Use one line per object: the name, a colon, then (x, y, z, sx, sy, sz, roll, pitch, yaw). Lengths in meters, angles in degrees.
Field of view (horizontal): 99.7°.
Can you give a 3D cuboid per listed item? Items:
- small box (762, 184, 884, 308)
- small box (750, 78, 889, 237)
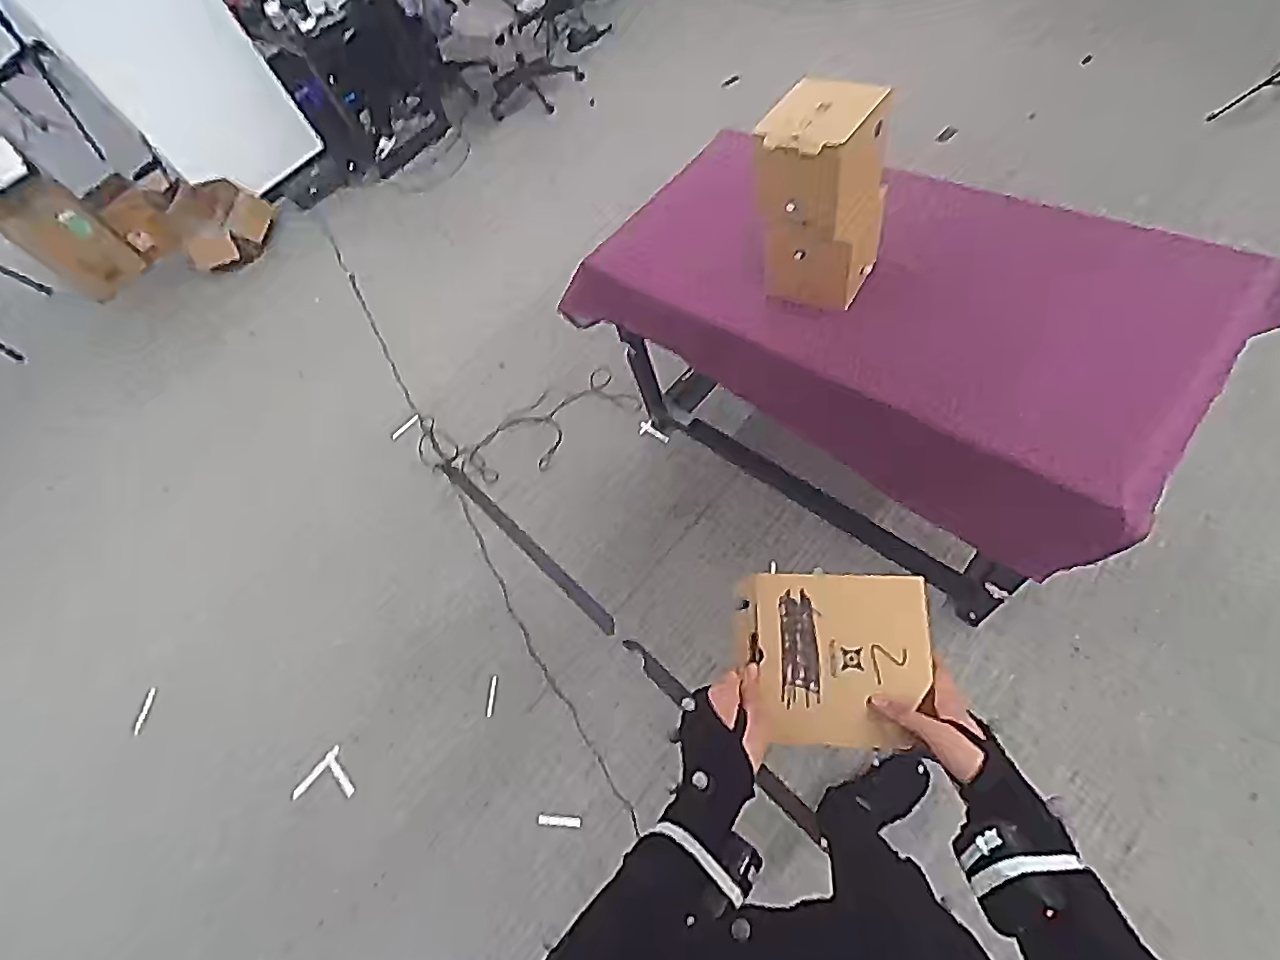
small box: (0.362, -0.474, 1.086, 0.179, 0.176, 0.168, 24, 70, 26)
small box: (0.312, -0.570, 0.960, 0.168, 0.176, 0.179, 29, 72, 29)
